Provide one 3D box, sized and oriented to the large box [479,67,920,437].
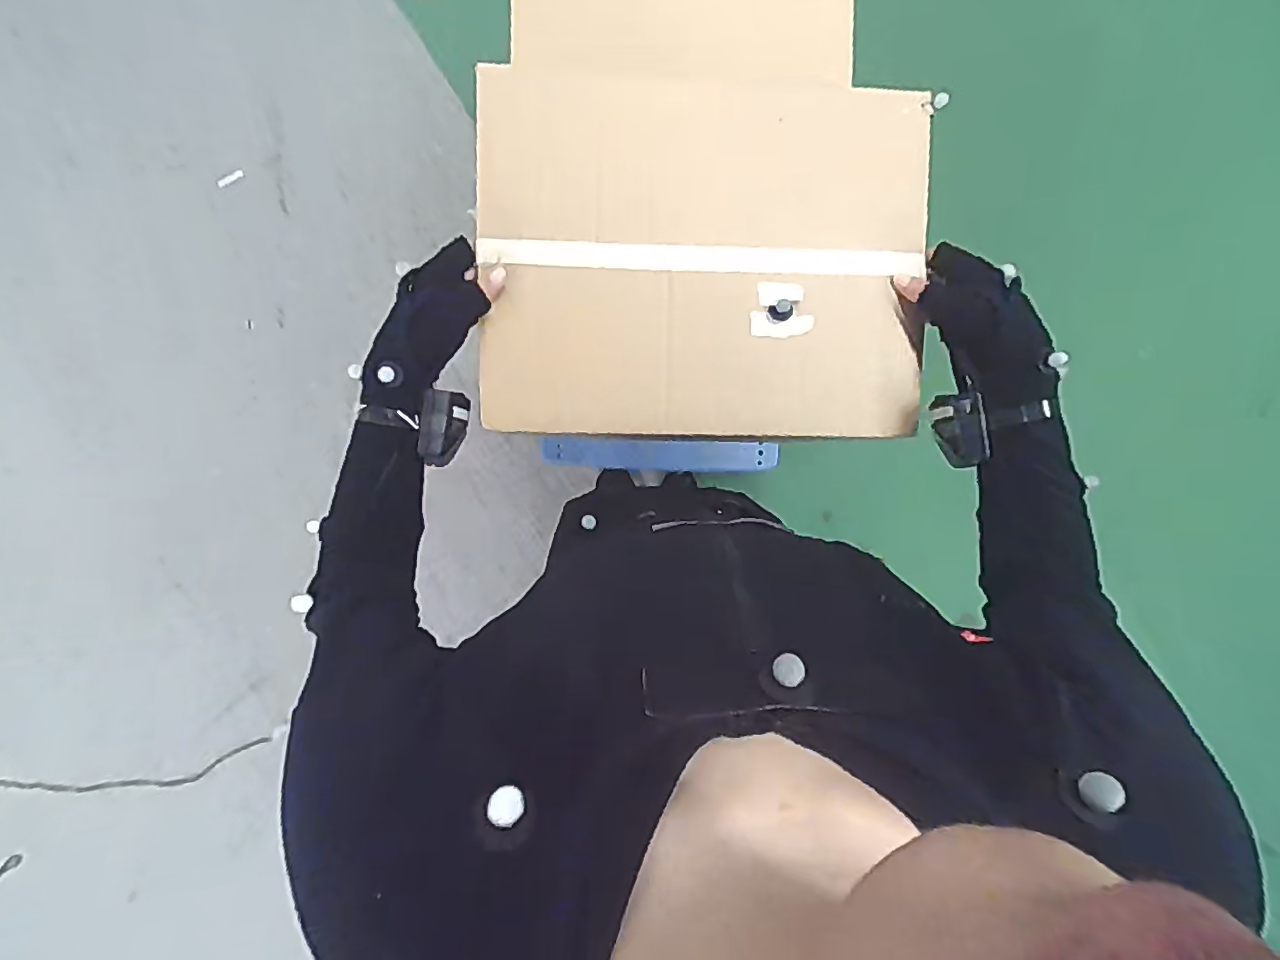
[{"bbox_3d":[0.045,-0.211,0.634,0.408,0.320,0.320,0,94,-5],"label":"large box"}]
